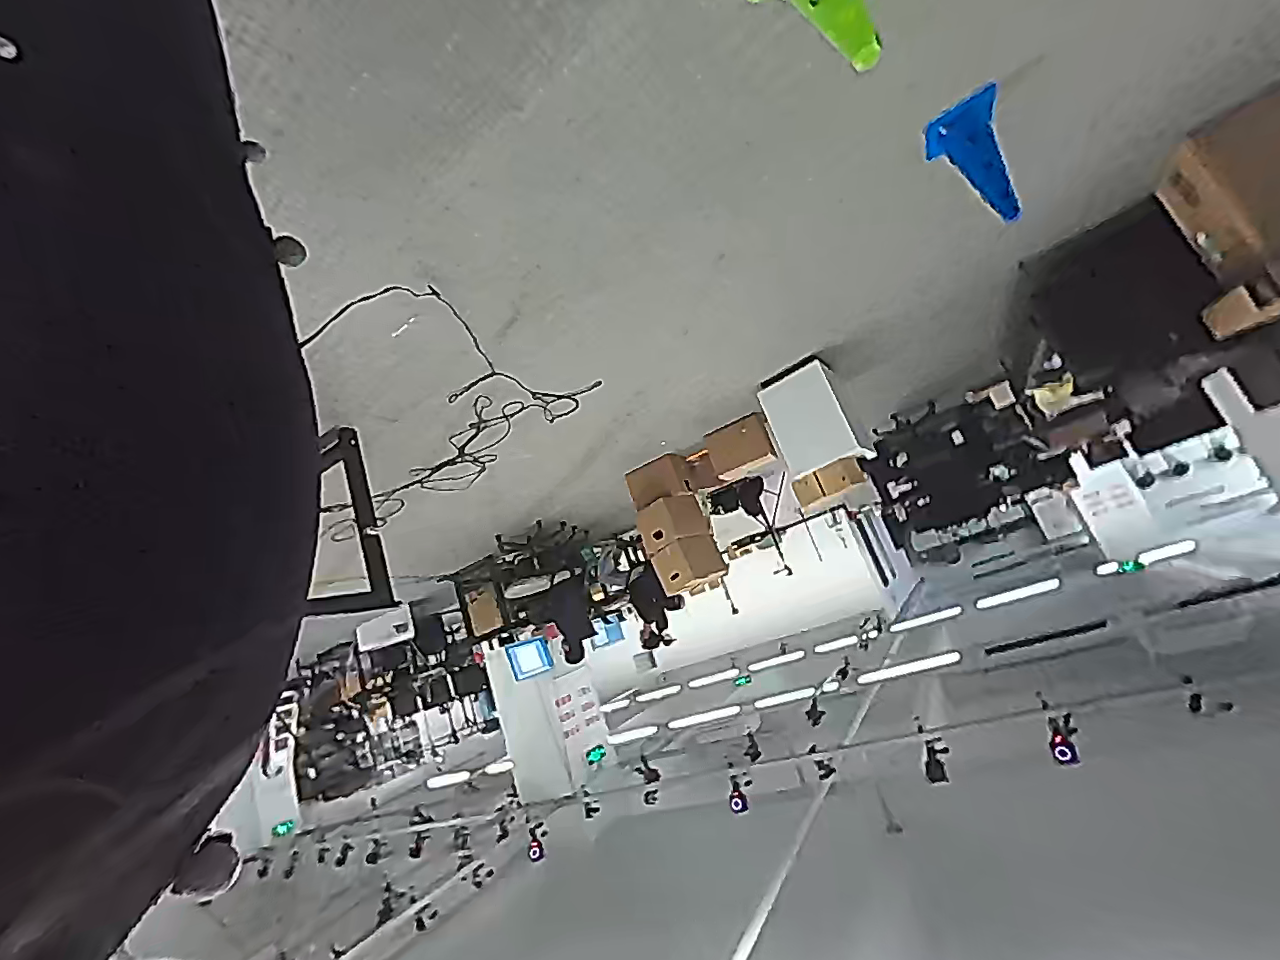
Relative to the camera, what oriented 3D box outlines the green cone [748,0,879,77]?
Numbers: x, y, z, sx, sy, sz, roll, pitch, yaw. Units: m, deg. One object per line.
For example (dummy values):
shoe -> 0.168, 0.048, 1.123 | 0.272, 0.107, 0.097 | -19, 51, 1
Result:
green cone -> 0.306, -0.841, 0.923 | 0.200, 0.368, 0.202 | -27, 165, 27
